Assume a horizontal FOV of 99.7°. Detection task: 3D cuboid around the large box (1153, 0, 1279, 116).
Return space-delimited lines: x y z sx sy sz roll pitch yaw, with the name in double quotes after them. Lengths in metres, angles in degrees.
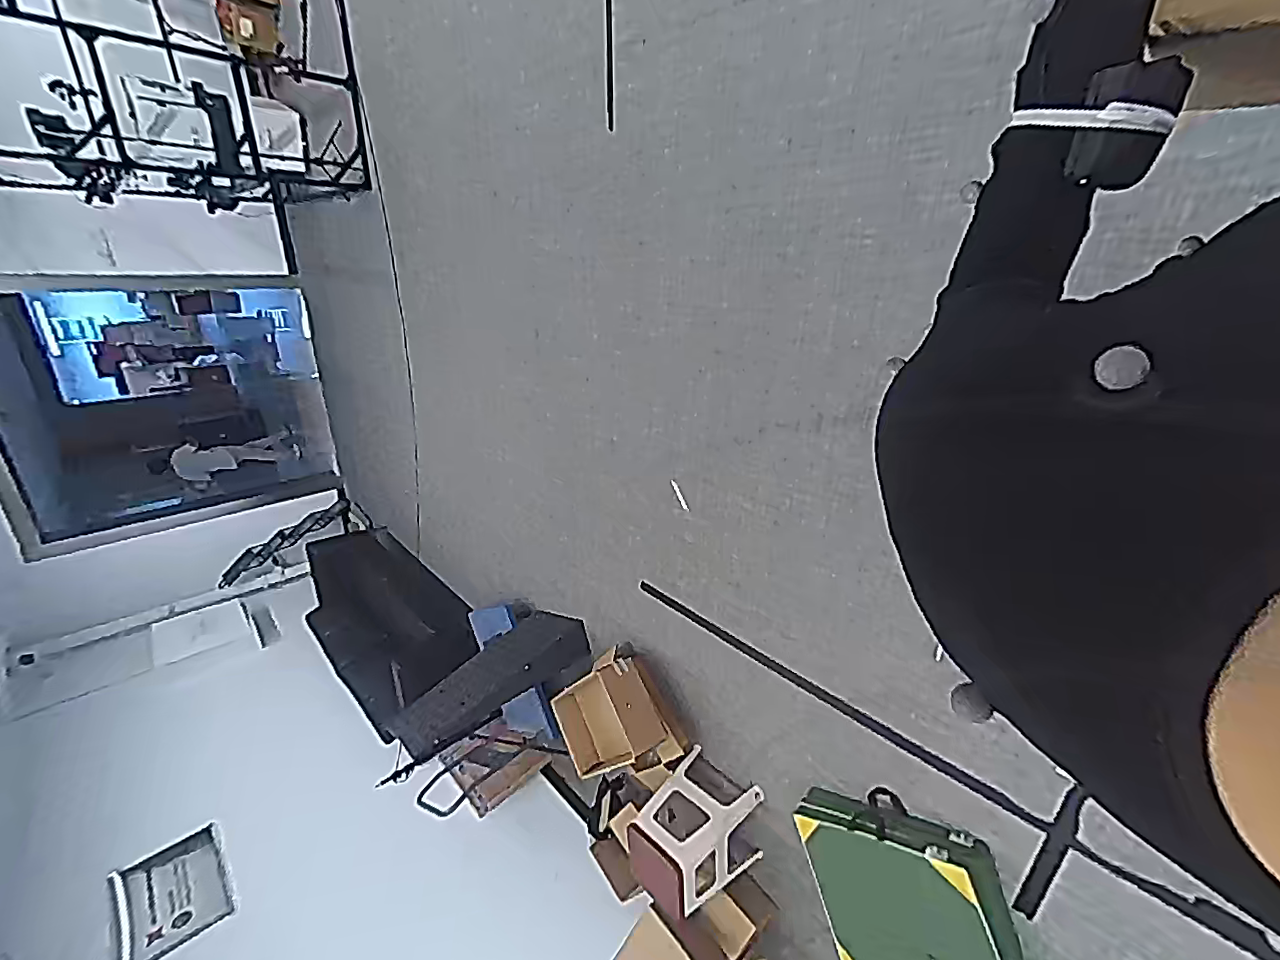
0.562 -0.397 0.254 0.408 0.320 0.320 22 124 37 "large box"
